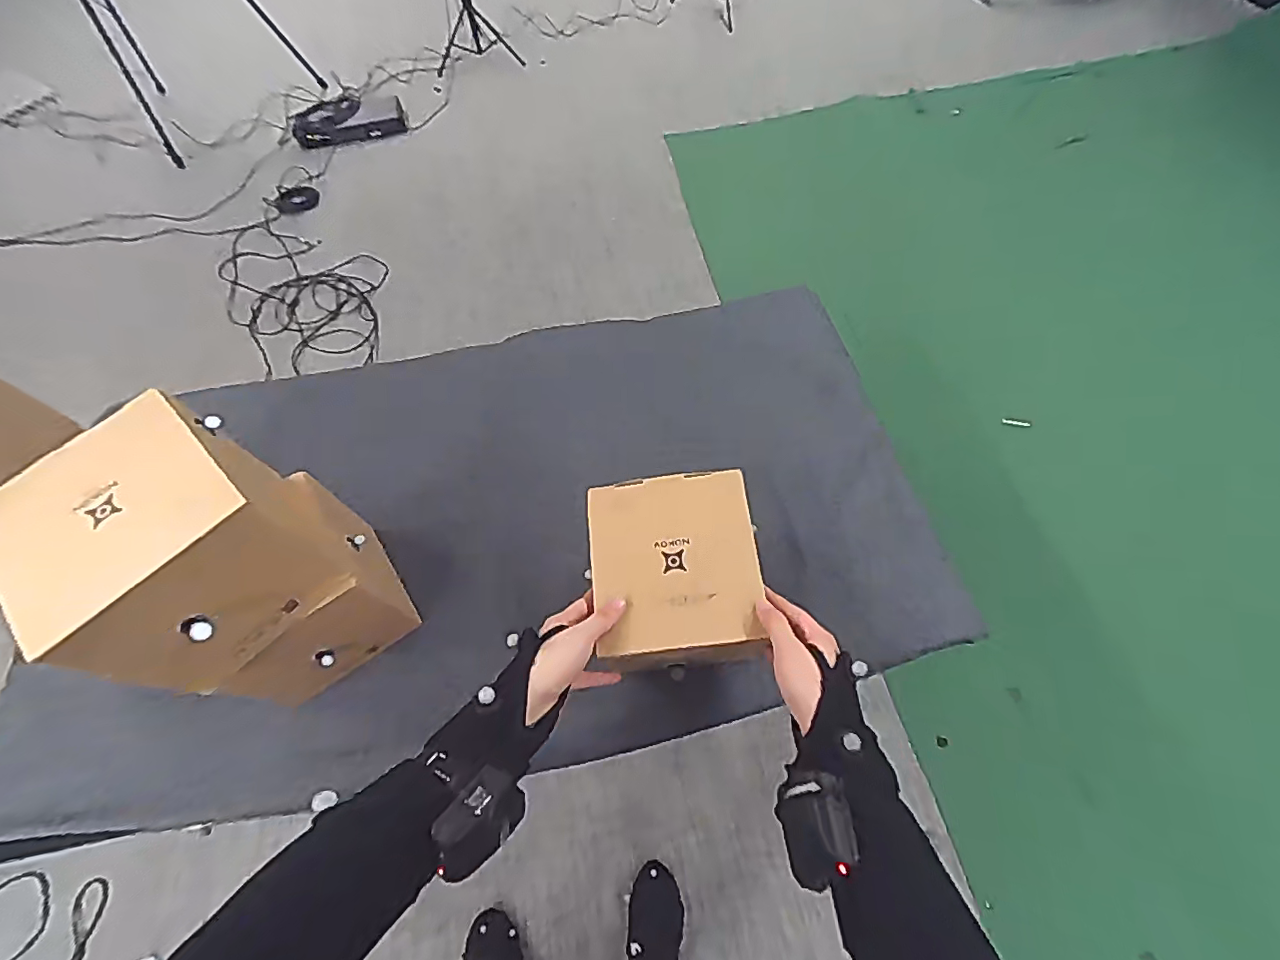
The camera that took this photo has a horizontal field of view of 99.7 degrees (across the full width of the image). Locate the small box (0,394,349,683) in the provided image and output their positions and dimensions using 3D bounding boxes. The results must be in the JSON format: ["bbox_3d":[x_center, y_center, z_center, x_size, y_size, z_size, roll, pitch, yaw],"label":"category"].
[{"bbox_3d":[-0.412,0.063,0.493,0.179,0.176,0.168,38,70,22],"label":"small box"}]

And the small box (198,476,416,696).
[{"bbox_3d":[-0.398,0.134,0.639,0.168,0.176,0.179,-34,64,-15],"label":"small box"}]

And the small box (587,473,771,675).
[{"bbox_3d":[0.040,0.112,0.599,0.168,0.176,0.179,-8,66,4],"label":"small box"}]
